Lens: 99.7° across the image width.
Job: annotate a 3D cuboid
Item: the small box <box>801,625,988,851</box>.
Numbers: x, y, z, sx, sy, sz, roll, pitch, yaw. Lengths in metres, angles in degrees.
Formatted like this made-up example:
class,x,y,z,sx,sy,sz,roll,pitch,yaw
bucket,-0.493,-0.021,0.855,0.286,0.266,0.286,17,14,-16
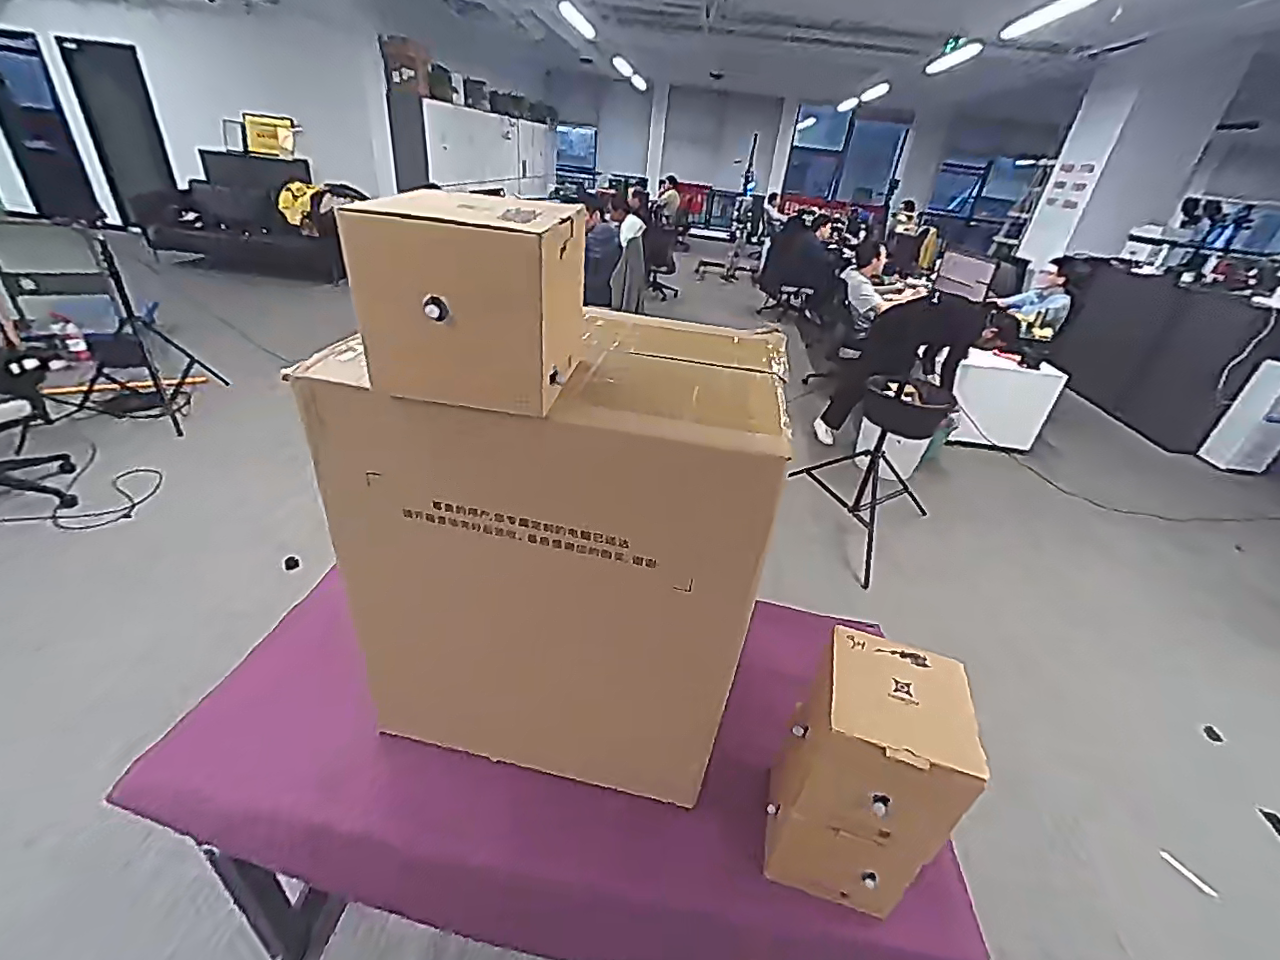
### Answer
class,x,y,z,sx,sy,sz,roll,pitch,yaw
small box,0.310,0.325,0.692,0.168,0.176,0.179,14,31,14

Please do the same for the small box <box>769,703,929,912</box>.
class,x,y,z,sx,sy,sz,roll,pitch,yaw
small box,0.285,0.465,0.774,0.168,0.176,0.179,13,30,10

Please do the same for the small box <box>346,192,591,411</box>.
class,x,y,z,sx,sy,sz,roll,pitch,yaw
small box,-0.154,-0.183,0.550,0.179,0.176,0.168,8,33,4
